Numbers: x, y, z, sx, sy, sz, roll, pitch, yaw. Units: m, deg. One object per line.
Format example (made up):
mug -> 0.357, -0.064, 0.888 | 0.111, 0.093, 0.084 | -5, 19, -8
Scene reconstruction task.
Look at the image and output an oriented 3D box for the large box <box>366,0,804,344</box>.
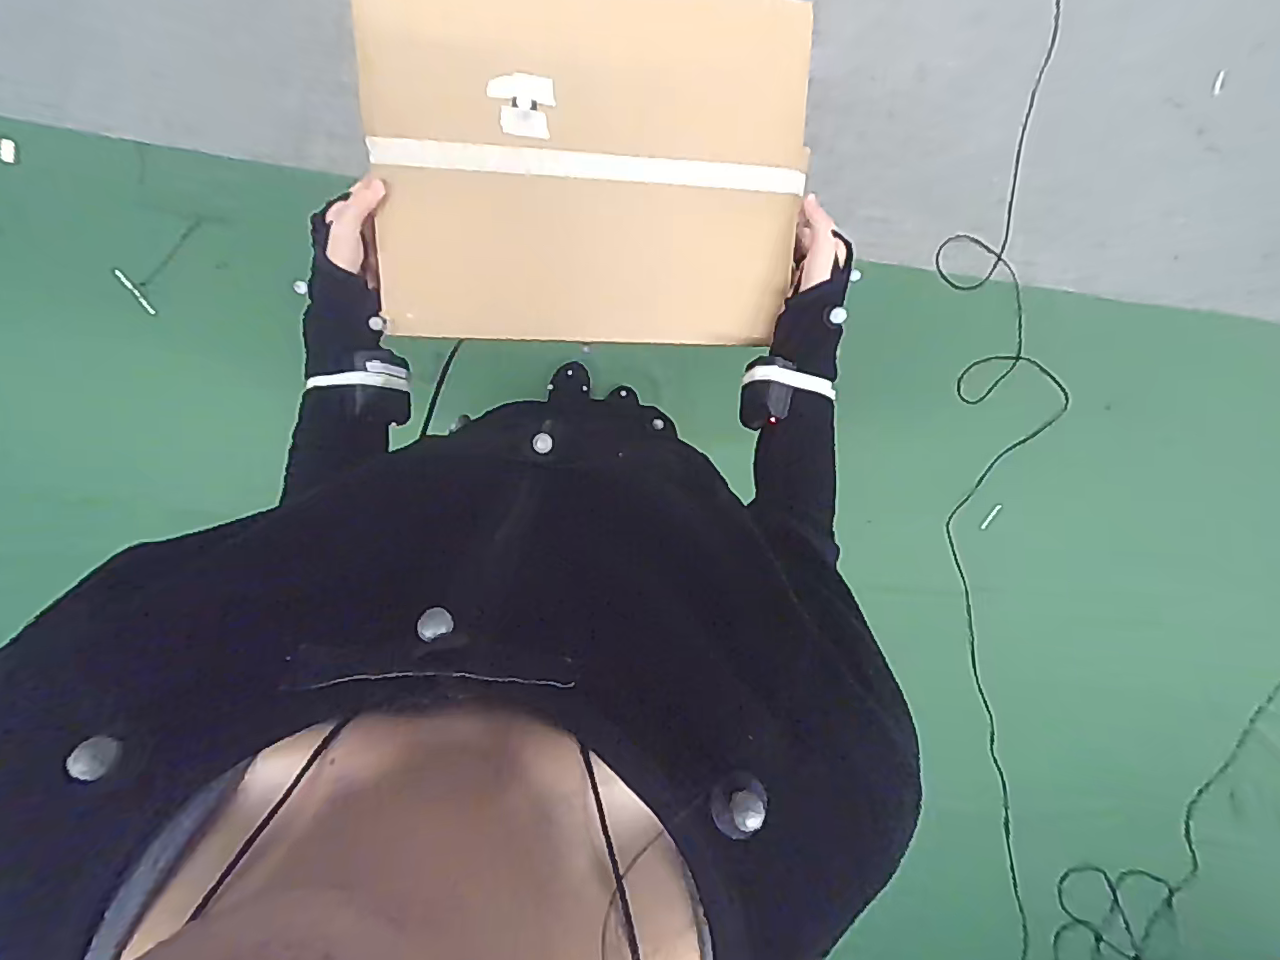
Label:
large box -> -0.062, -0.337, 0.666 | 0.408, 0.320, 0.320 | 0, 105, -9
